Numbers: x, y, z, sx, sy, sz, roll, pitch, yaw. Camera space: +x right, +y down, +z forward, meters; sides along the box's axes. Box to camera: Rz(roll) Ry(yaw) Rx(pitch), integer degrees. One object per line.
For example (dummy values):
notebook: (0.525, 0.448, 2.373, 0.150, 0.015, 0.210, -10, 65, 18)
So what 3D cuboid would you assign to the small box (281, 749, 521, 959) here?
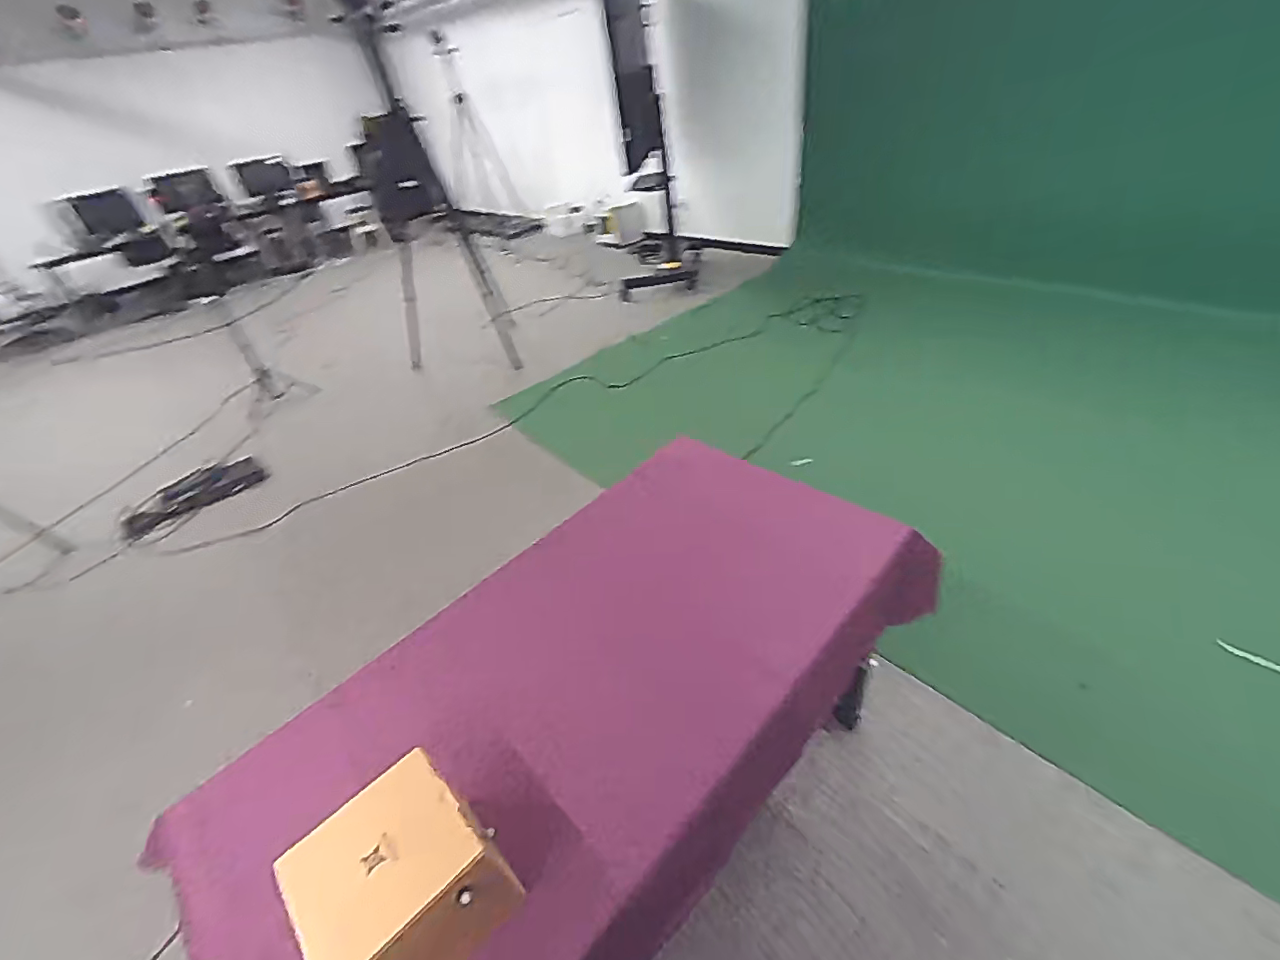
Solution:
small box: (-0.269, 0.472, 0.635, 0.179, 0.176, 0.168, -35, 43, -30)
